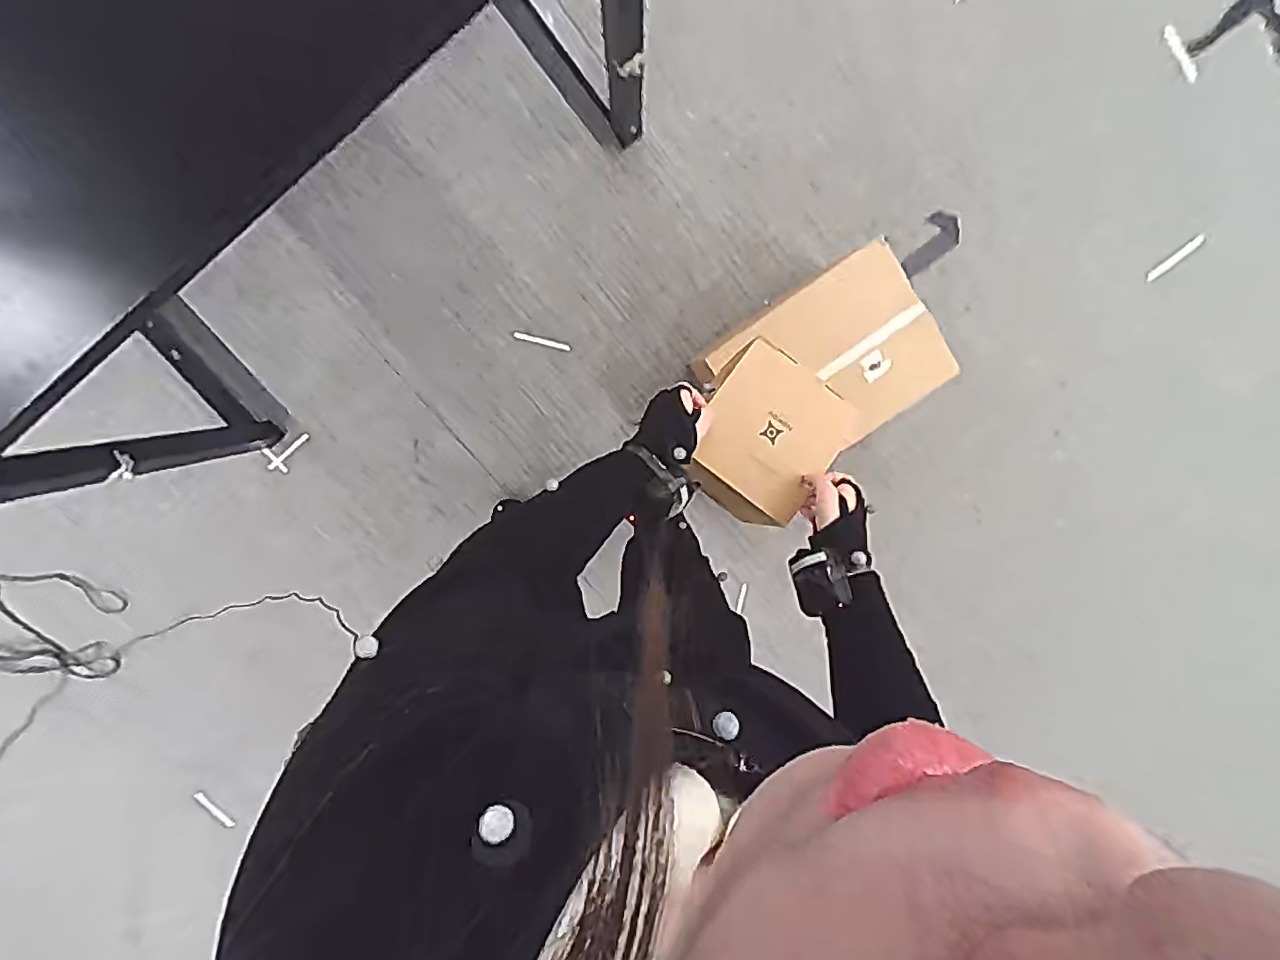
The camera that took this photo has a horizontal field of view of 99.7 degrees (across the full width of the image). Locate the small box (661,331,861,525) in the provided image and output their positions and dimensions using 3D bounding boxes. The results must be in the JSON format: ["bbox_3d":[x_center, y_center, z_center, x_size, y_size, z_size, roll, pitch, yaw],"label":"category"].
[{"bbox_3d":[0.145,-0.059,0.716,0.168,0.176,0.179,37,84,-4],"label":"small box"}]

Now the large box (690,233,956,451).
[{"bbox_3d":[0.369,-0.254,1.194,0.408,0.320,0.320,-35,100,5],"label":"large box"}]
